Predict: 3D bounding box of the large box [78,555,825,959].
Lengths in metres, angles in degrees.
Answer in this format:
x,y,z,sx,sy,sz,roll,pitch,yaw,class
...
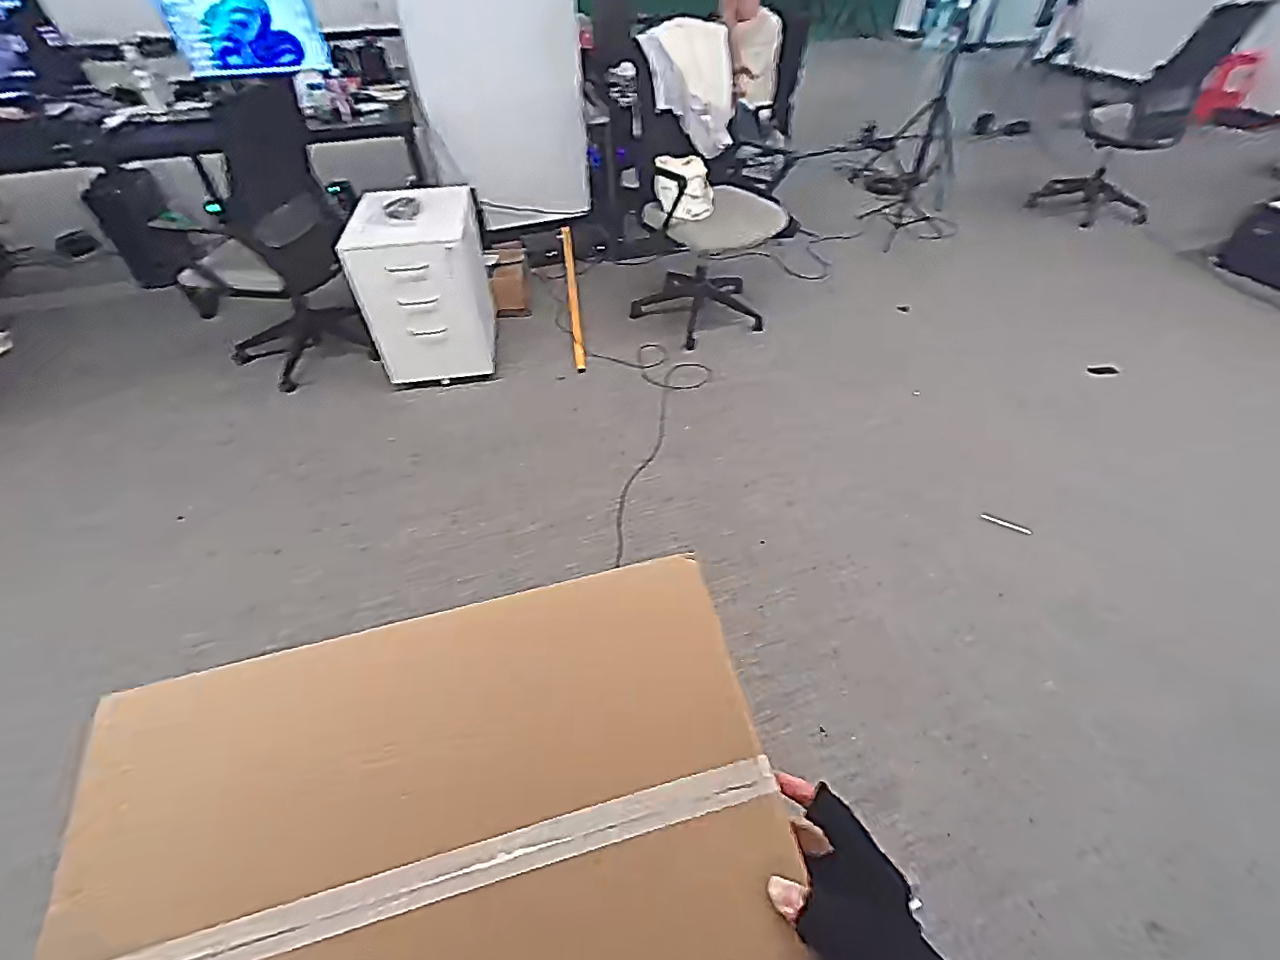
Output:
x,y,z,sx,sy,sz,roll,pitch,yaw,class
-0.117,0.306,0.445,0.408,0.320,0.320,-13,60,-8,large box
